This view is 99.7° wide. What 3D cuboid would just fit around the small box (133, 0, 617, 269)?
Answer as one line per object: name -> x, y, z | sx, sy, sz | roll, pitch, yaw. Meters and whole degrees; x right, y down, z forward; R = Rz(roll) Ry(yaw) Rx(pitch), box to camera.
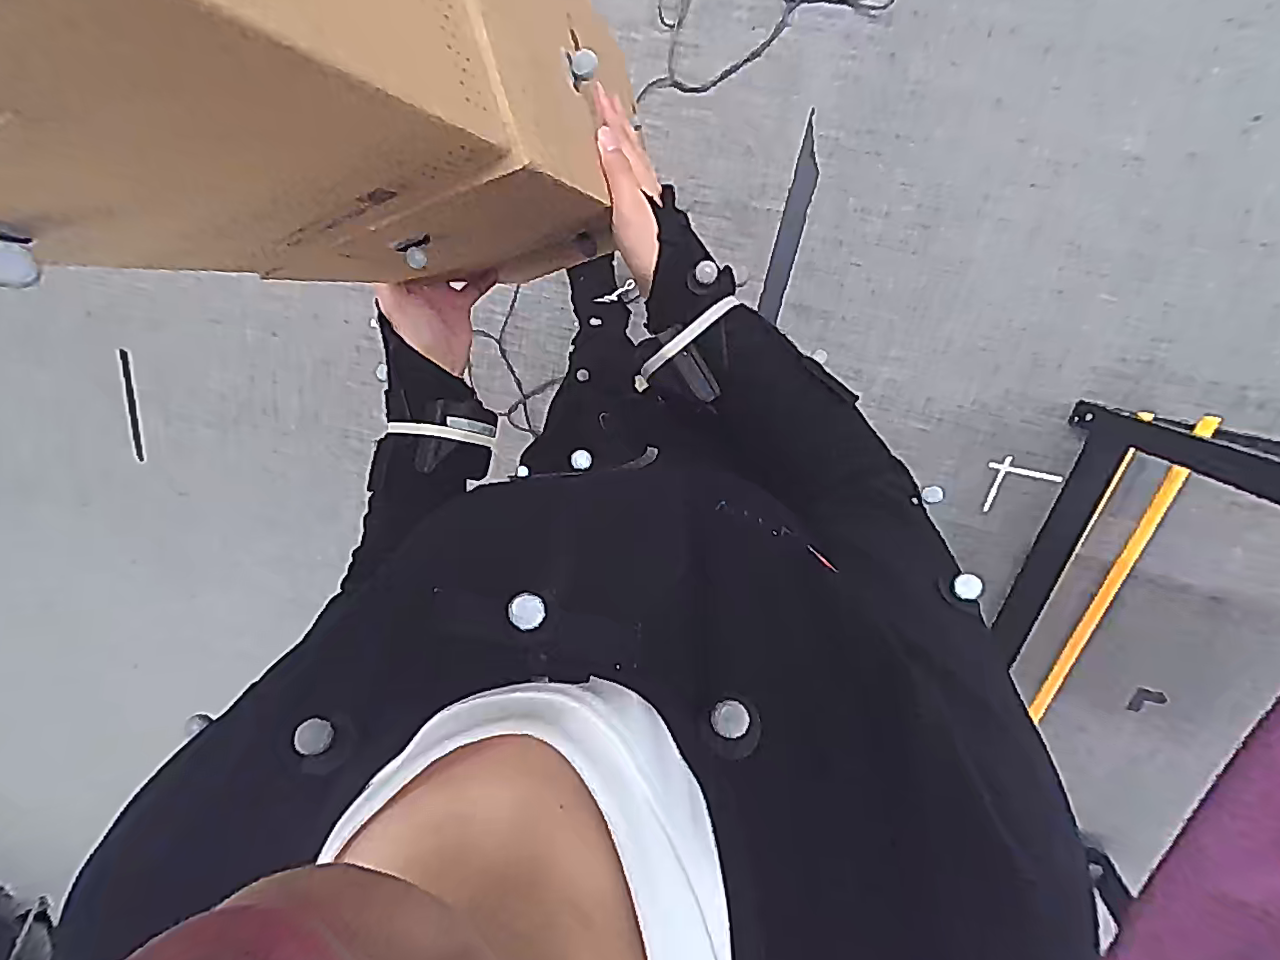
small box -> -0.133, -0.231, 0.316 | 0.179, 0.176, 0.168 | -11, 106, 18
